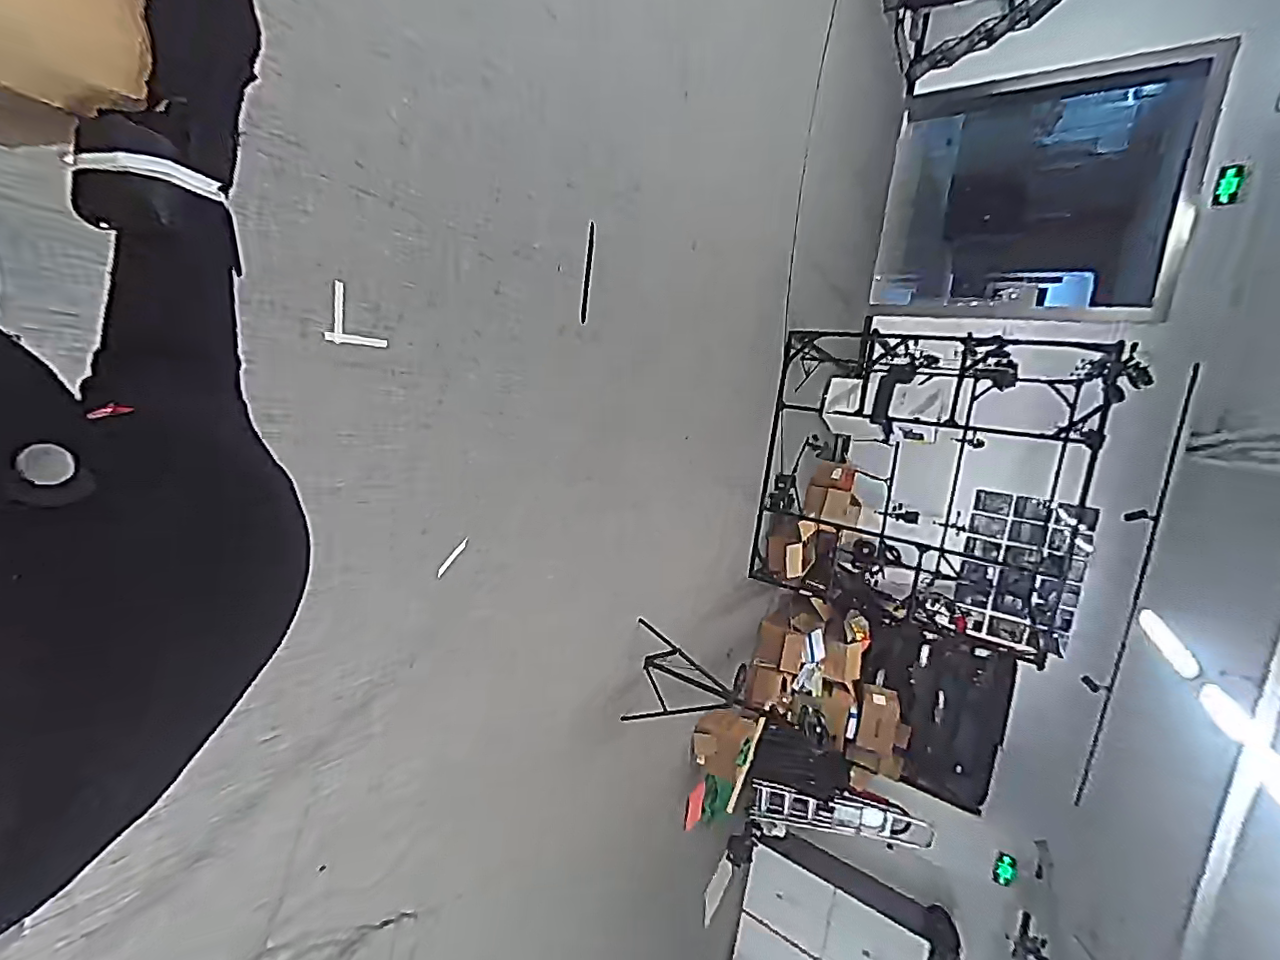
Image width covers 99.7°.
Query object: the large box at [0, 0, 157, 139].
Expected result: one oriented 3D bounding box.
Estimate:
[{"bbox_3d":[-0.546,-0.428,0.262,0.408,0.320,0.320,-1,108,-62],"label":"large box"}]
